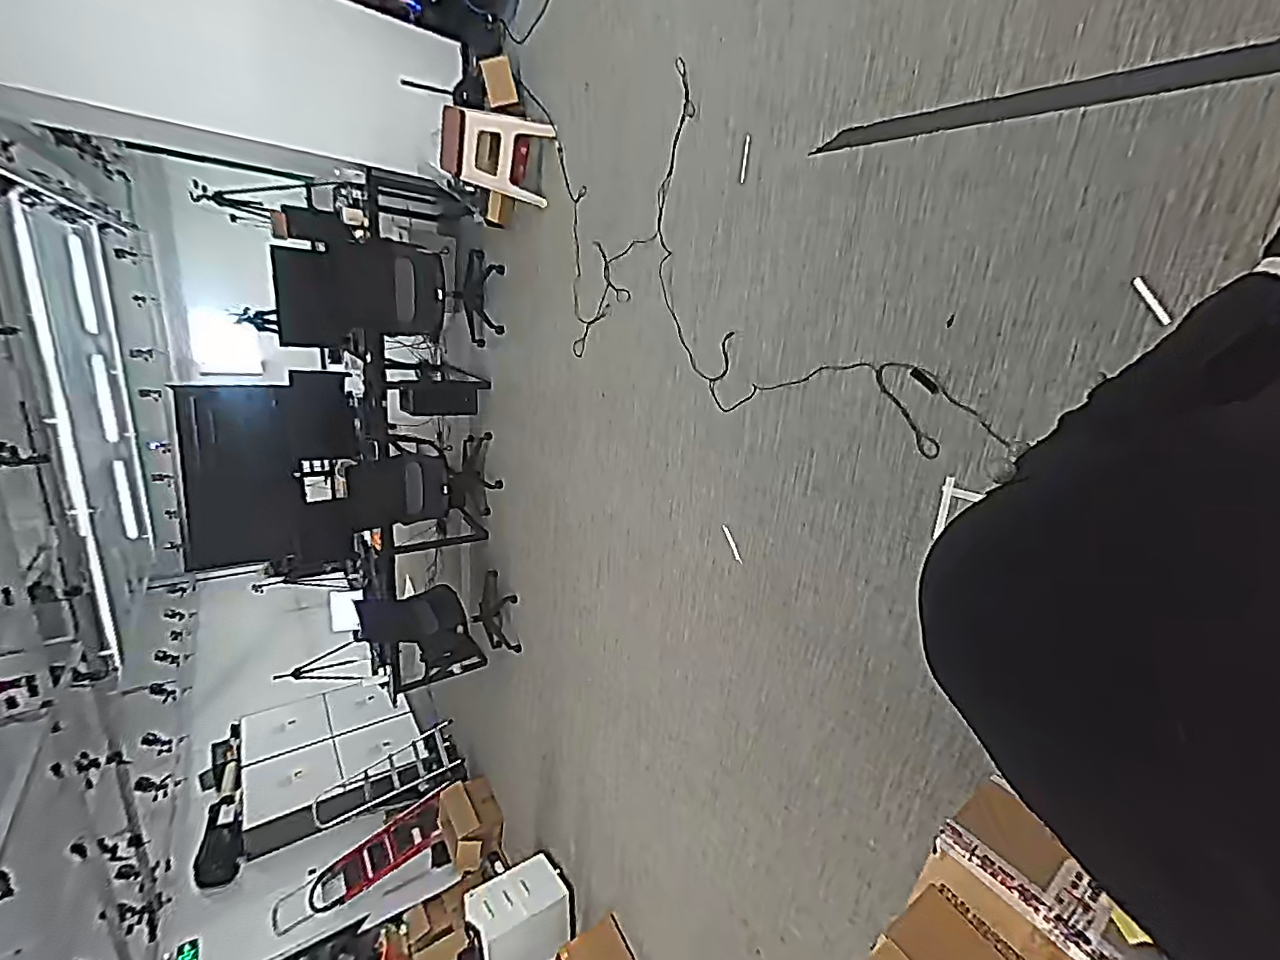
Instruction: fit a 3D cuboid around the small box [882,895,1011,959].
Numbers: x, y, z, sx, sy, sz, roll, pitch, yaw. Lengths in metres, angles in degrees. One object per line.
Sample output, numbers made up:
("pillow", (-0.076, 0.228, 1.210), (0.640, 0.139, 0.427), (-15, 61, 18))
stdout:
("small box", (0.525, 0.867, 0.915), (0.179, 0.176, 0.168), (37, 123, 48))
